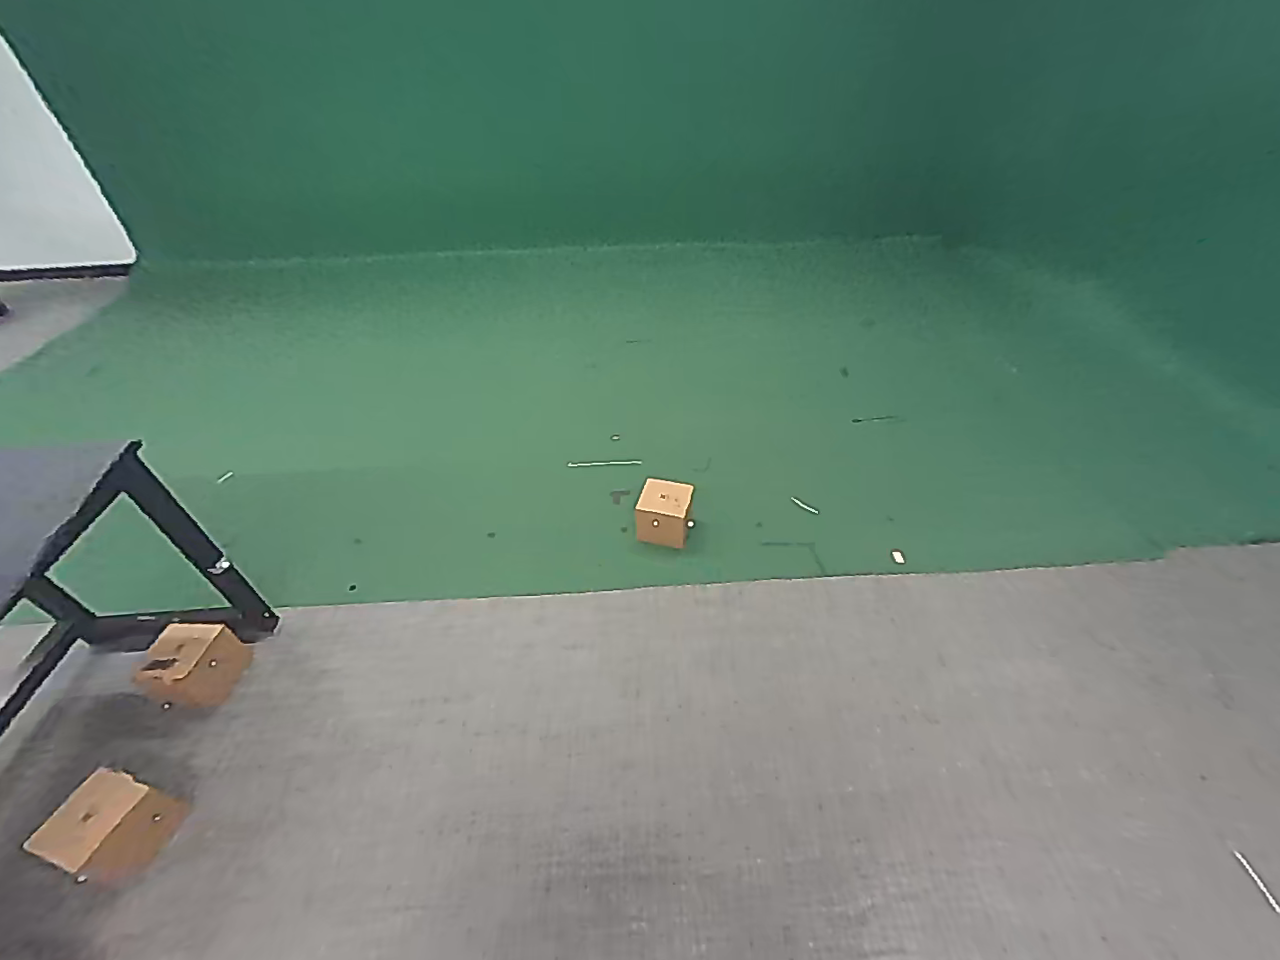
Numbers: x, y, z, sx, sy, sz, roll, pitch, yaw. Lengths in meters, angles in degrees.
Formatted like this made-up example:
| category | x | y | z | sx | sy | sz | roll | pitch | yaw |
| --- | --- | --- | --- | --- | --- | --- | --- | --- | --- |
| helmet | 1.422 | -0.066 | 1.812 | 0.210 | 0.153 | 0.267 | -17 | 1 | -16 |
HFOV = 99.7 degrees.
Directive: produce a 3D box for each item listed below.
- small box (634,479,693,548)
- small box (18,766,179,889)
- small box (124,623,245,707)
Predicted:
| category | x | y | z | sx | sy | sz | roll | pitch | yaw |
| --- | --- | --- | --- | --- | --- | --- | --- | --- | --- |
| small box | 0.086 | 0.123 | 1.945 | 0.179 | 0.176 | 0.168 | 11 | 44 | 12 |
| small box | -1.224 | 0.802 | 1.246 | 0.168 | 0.176 | 0.179 | 10 | 45 | 14 |
| small box | -1.282 | 0.530 | 1.542 | 0.168 | 0.176 | 0.179 | 1 | 42 | 2 |
